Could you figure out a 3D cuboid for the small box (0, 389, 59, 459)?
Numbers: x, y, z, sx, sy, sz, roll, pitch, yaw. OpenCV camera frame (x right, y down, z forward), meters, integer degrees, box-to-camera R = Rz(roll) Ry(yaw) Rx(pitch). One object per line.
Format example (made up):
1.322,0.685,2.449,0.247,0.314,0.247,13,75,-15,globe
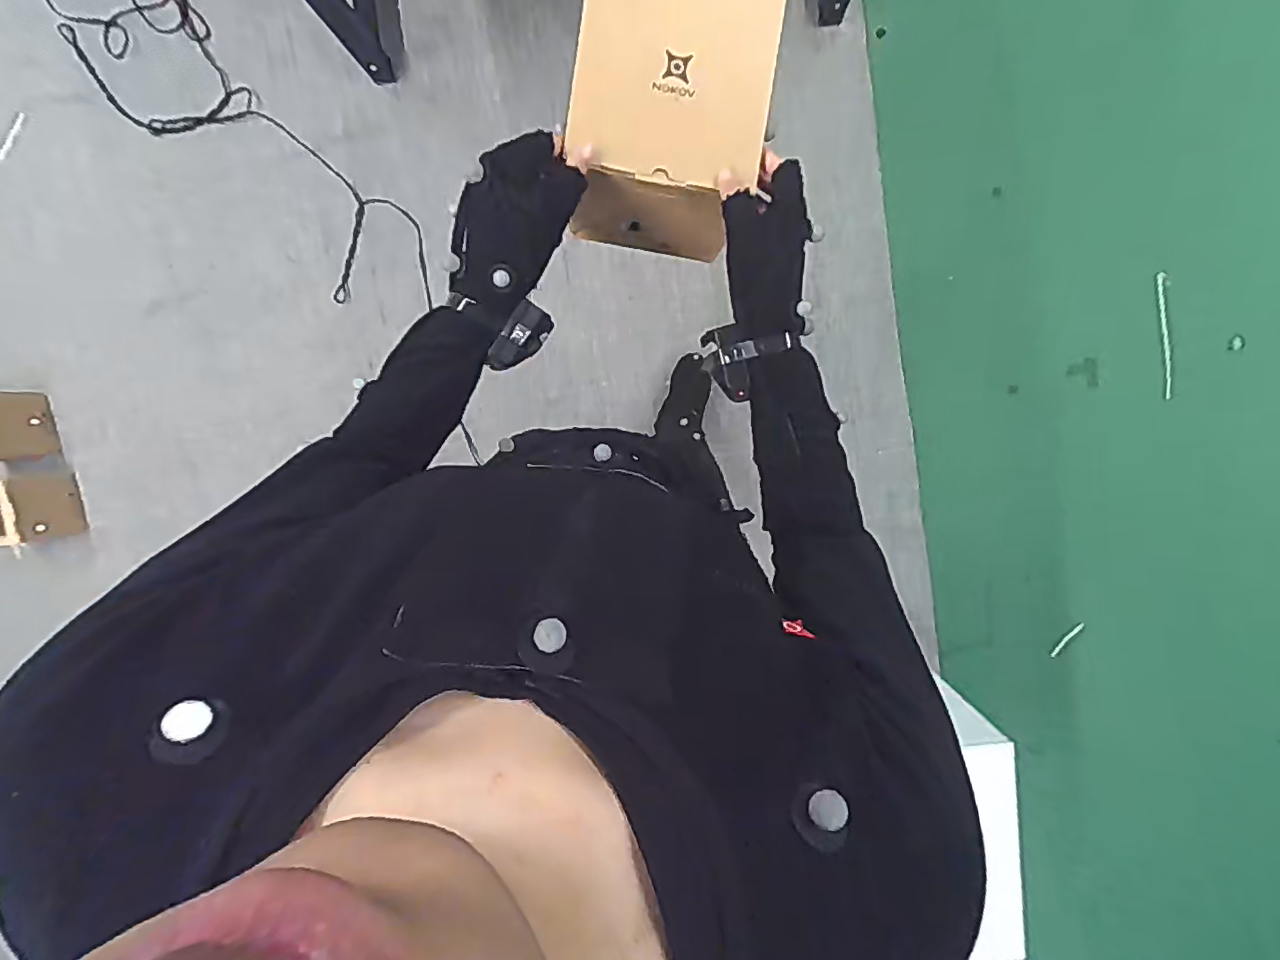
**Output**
-1.704,-0.143,1.413,0.179,0.176,0.168,-9,97,2,small box

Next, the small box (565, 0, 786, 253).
0.022,-0.346,0.522,0.168,0.176,0.179,8,94,-6,small box
